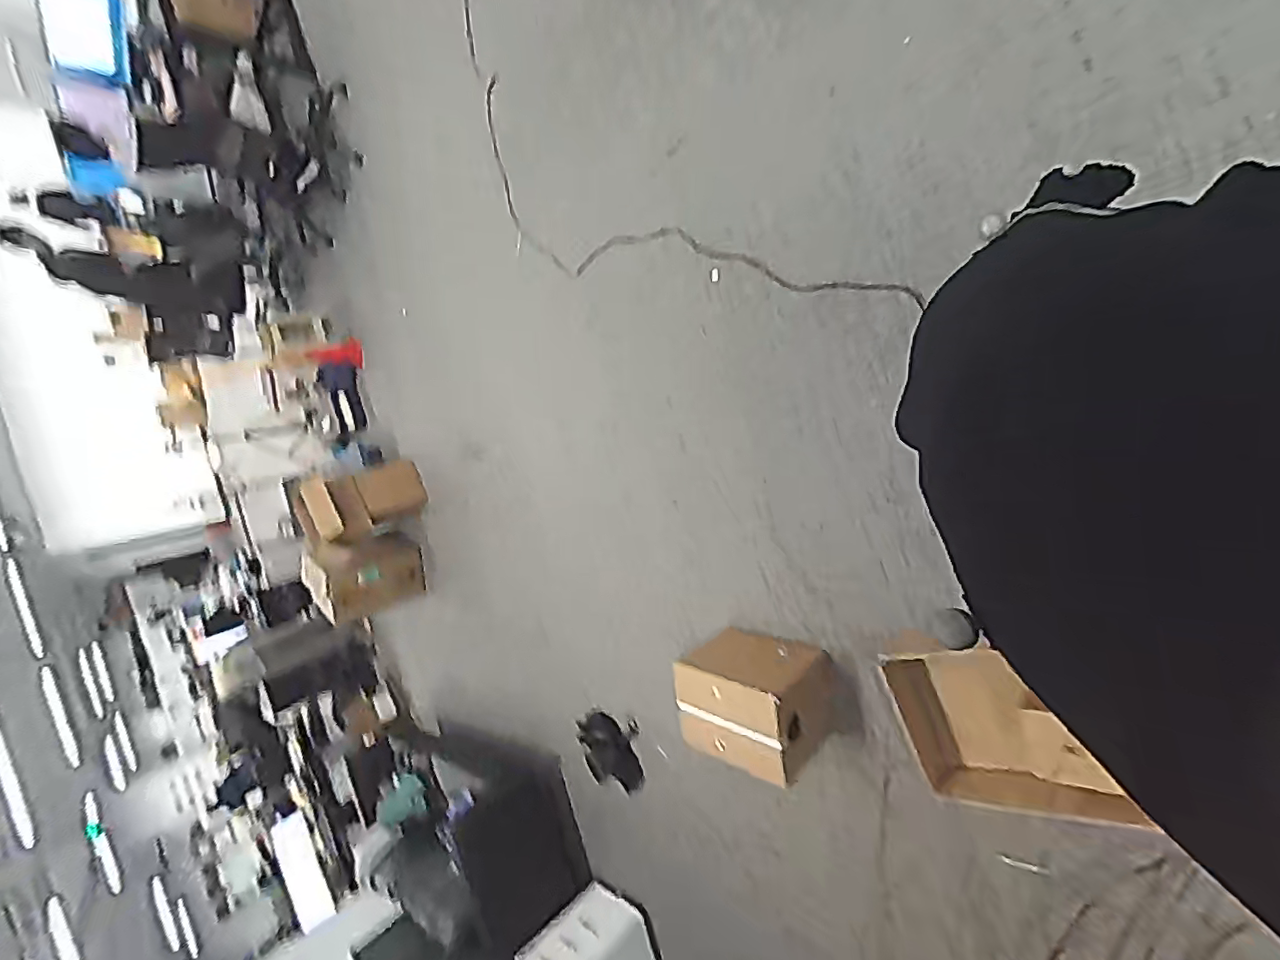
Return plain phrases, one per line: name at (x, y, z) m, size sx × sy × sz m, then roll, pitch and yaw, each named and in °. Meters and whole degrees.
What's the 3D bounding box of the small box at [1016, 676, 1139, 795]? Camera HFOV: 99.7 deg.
small box at (0.974, 0.553, 1.200) m, size 0.179 × 0.176 × 0.168 m, roll -14°, pitch 92°, yaw 49°
